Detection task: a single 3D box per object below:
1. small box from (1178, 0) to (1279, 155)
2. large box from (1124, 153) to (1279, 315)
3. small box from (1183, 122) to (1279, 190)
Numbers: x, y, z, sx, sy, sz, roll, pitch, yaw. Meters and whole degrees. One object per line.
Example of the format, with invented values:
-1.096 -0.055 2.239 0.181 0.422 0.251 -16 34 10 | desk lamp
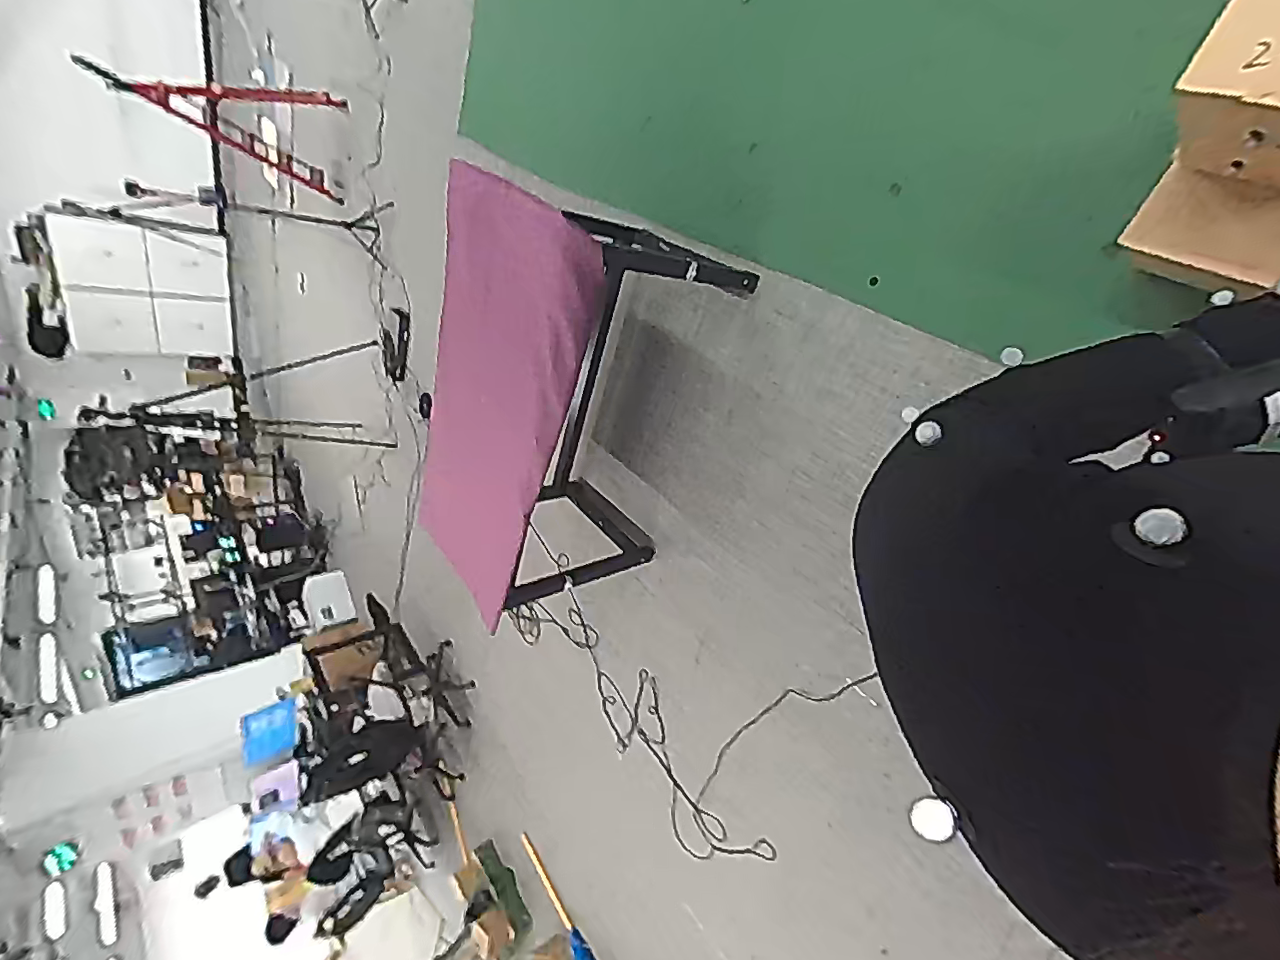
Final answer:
0.711 -0.459 0.555 0.168 0.176 0.179 41 125 34 | small box
1.054 -0.415 0.799 0.408 0.320 0.320 41 126 33 | large box
0.829 -0.484 0.668 0.168 0.176 0.179 42 125 33 | small box
